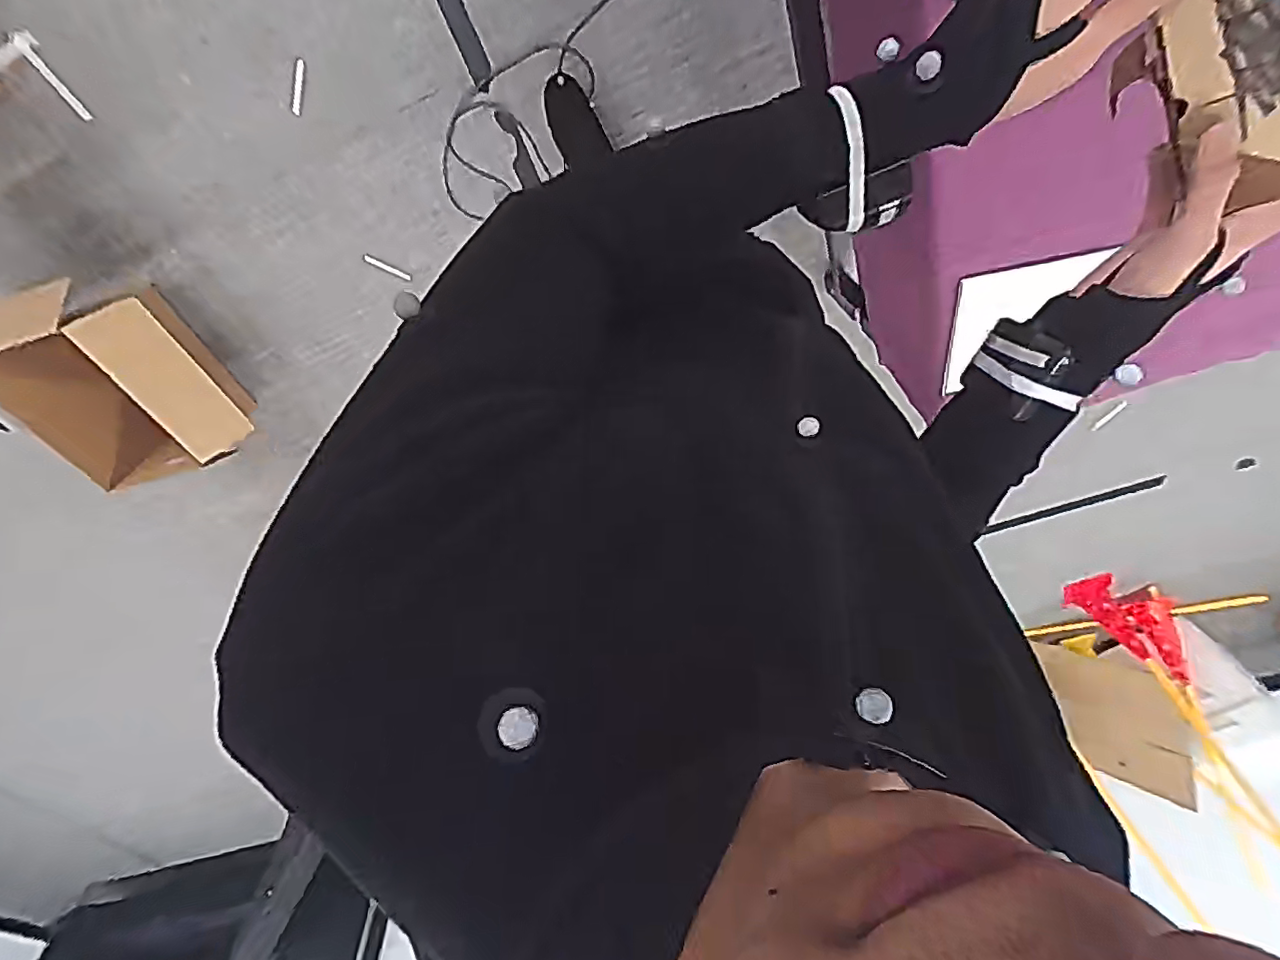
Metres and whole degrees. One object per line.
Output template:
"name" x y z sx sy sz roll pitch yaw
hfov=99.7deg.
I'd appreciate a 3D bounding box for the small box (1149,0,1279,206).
"small box" 0.396 -0.297 0.286 0.179 0.176 0.168 -9 138 48
